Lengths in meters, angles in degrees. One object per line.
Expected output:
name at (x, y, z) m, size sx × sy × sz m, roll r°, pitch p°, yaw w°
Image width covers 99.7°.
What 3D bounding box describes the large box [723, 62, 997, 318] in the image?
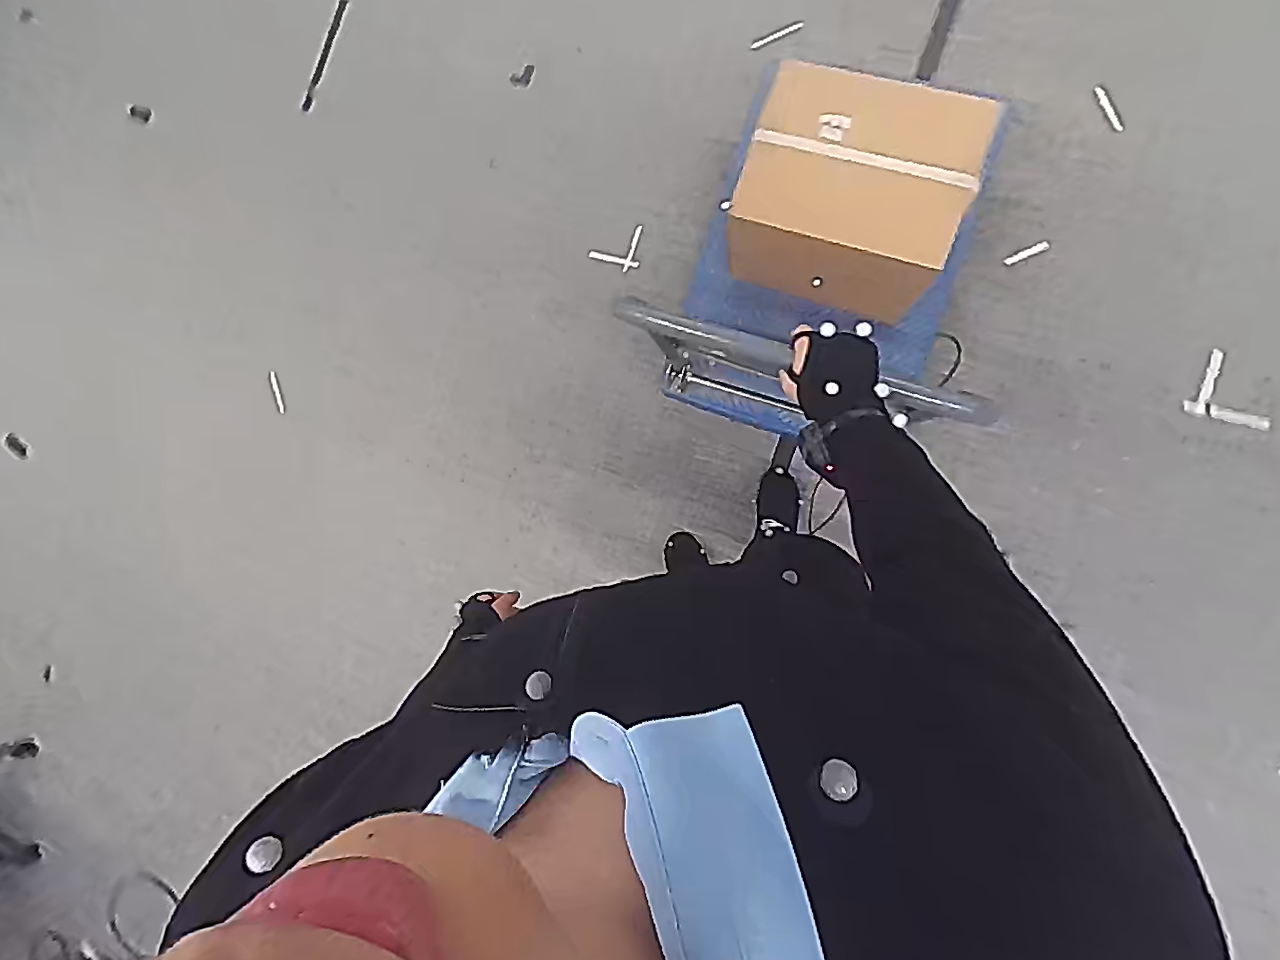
large box at (0.422, -0.576, 1.124) m, size 0.408 × 0.320 × 0.320 m, roll 20°, pitch 91°, yaw 12°
